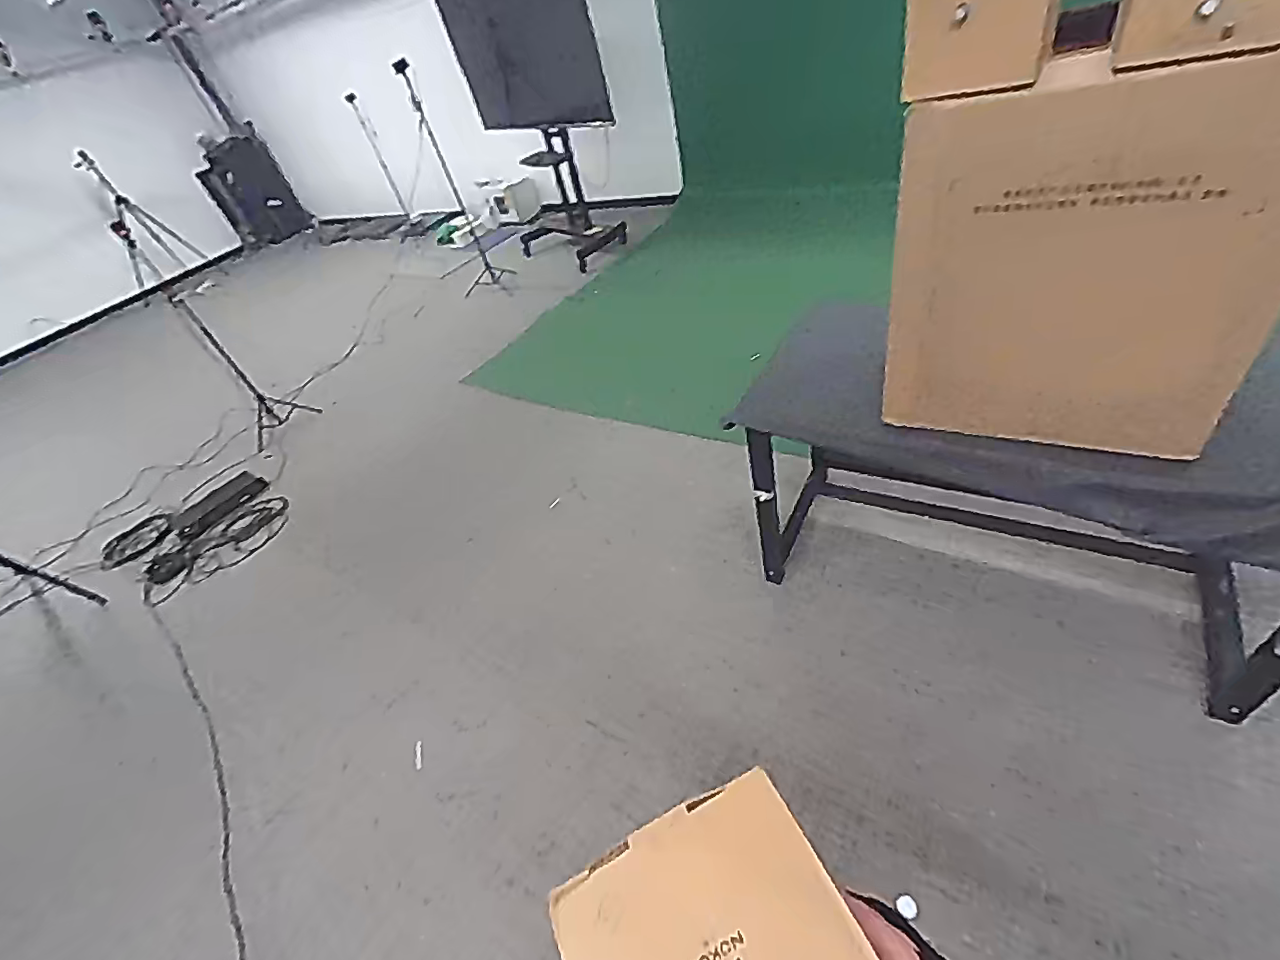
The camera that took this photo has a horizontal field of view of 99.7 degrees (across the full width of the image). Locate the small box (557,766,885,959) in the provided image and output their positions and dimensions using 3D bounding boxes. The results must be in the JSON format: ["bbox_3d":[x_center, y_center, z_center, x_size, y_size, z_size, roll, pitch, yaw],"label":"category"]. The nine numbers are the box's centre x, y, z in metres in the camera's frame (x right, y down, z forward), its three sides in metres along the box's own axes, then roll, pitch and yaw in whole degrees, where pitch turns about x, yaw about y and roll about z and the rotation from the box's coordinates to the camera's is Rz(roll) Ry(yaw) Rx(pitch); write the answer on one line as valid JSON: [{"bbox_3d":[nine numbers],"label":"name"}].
[{"bbox_3d":[0.061,0.338,0.365,0.168,0.176,0.179,-23,49,-14],"label":"small box"}]

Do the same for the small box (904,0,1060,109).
[{"bbox_3d":[0.506,-0.675,0.801,0.179,0.176,0.168,15,51,34],"label":"small box"}]

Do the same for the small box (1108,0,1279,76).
[{"bbox_3d":[0.719,-0.635,0.679,0.168,0.176,0.179,13,50,30],"label":"small box"}]
